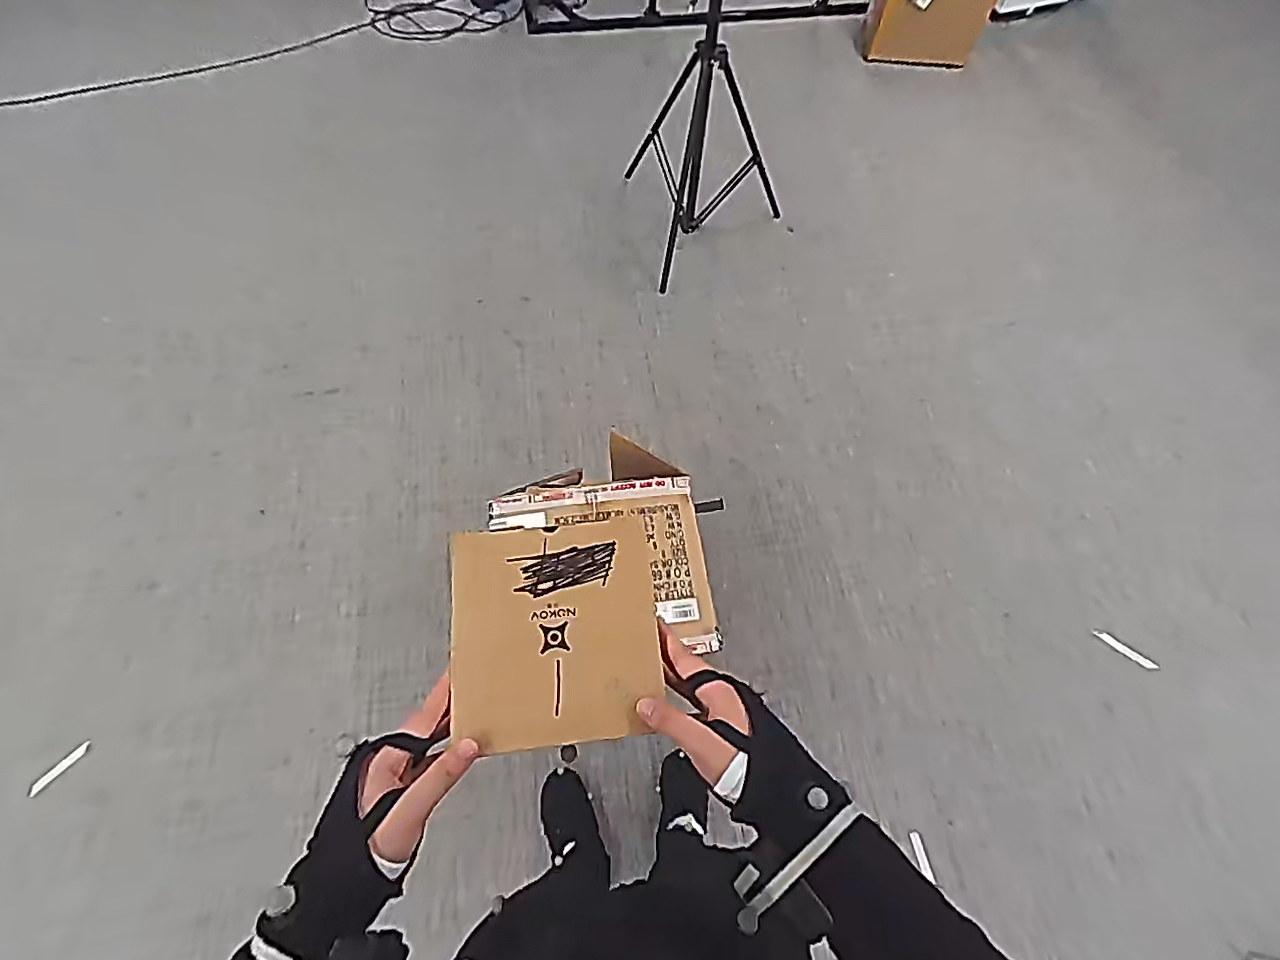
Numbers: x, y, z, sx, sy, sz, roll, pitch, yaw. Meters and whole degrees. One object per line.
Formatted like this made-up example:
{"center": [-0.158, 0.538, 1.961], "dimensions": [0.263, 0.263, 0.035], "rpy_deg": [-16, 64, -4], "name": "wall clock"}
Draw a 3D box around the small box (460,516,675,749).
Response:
{"center": [-0.065, 0.149, 0.516], "dimensions": [0.168, 0.176, 0.179], "rpy_deg": [-5, 67, -4], "name": "small box"}
